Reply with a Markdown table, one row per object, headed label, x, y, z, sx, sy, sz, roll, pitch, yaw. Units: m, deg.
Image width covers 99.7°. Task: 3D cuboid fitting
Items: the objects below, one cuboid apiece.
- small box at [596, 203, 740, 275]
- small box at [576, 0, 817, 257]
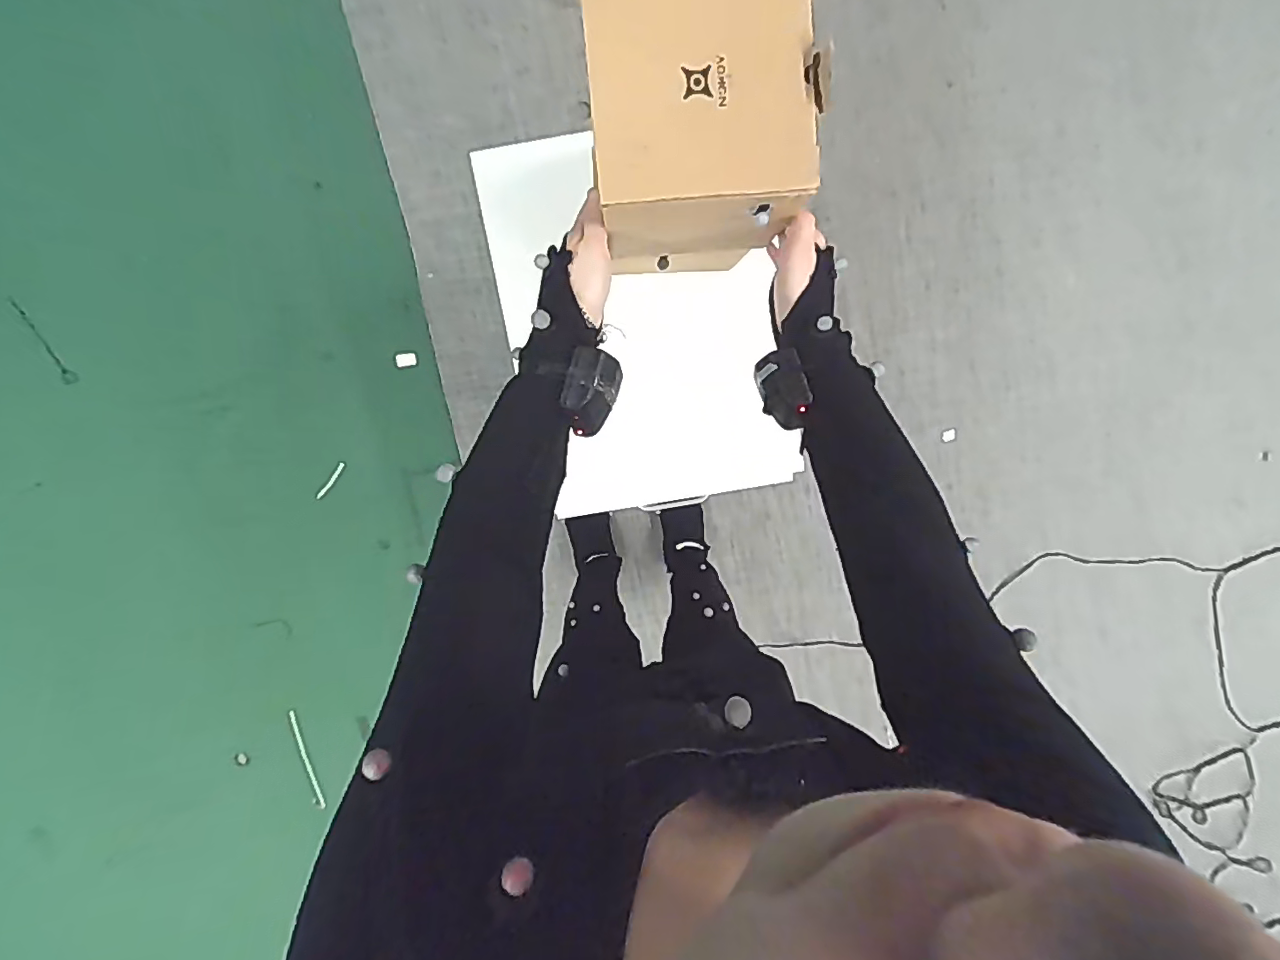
| label | x | y | z | sx | sy | sz | roll | pitch | yaw |
| --- | --- | --- | --- | --- | --- | --- | --- | --- | --- |
| small box | 0.038 | -0.351 | 0.657 | 0.179 | 0.176 | 0.168 | -3 | 100 | 0 |
| small box | 0.042 | -0.311 | 0.488 | 0.179 | 0.176 | 0.168 | -5 | 98 | -2 |
